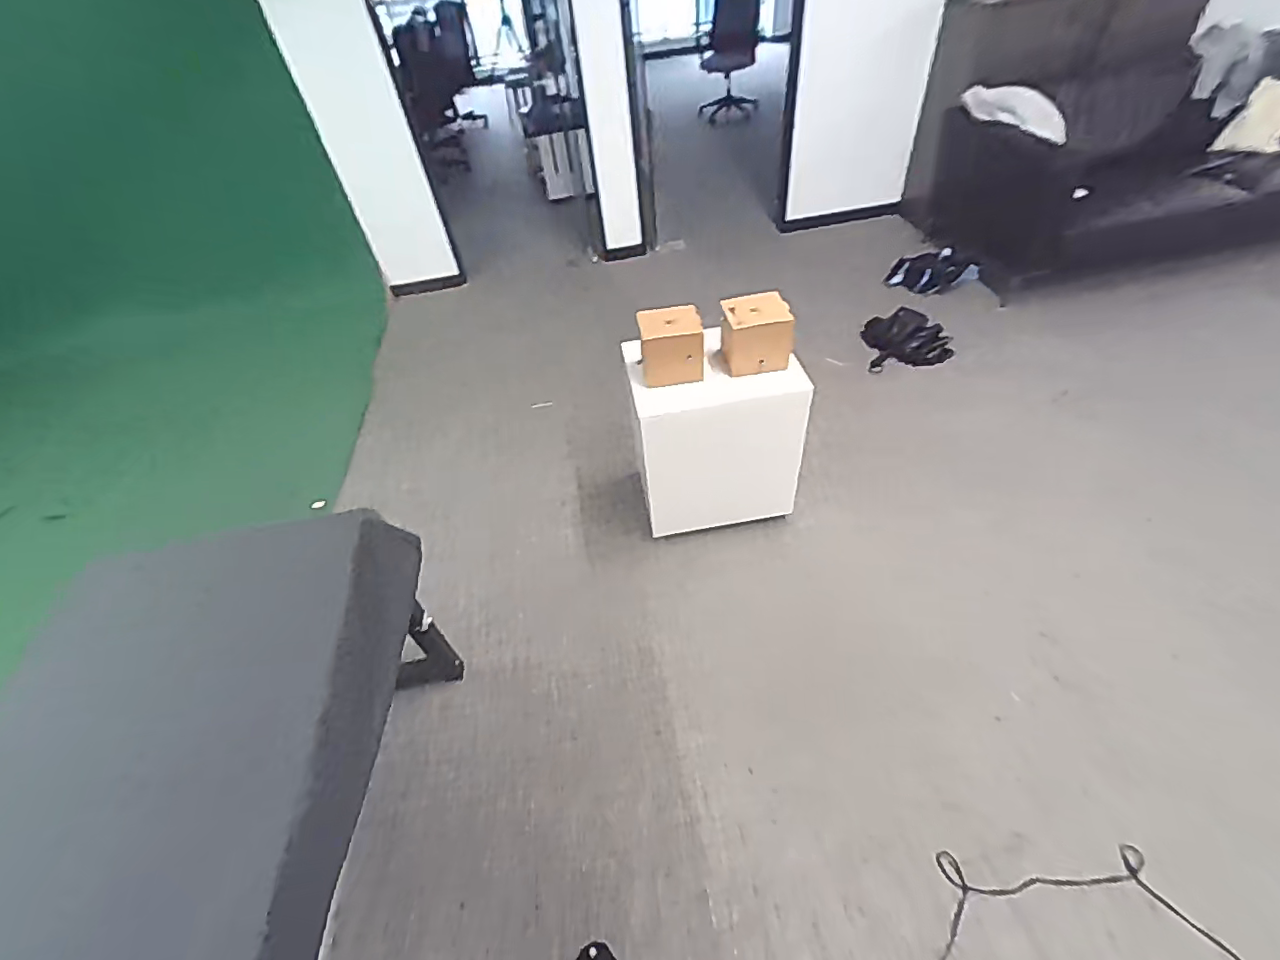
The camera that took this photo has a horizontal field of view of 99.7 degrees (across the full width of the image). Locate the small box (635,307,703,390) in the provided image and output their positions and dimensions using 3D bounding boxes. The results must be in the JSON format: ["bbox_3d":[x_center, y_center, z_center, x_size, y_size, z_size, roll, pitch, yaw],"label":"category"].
[{"bbox_3d":[0.084,-0.387,1.596,0.179,0.176,0.168,-9,45,-2],"label":"small box"}]

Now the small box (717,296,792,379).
[{"bbox_3d":[0.331,-0.421,1.600,0.179,0.176,0.168,-8,46,-2],"label":"small box"}]
